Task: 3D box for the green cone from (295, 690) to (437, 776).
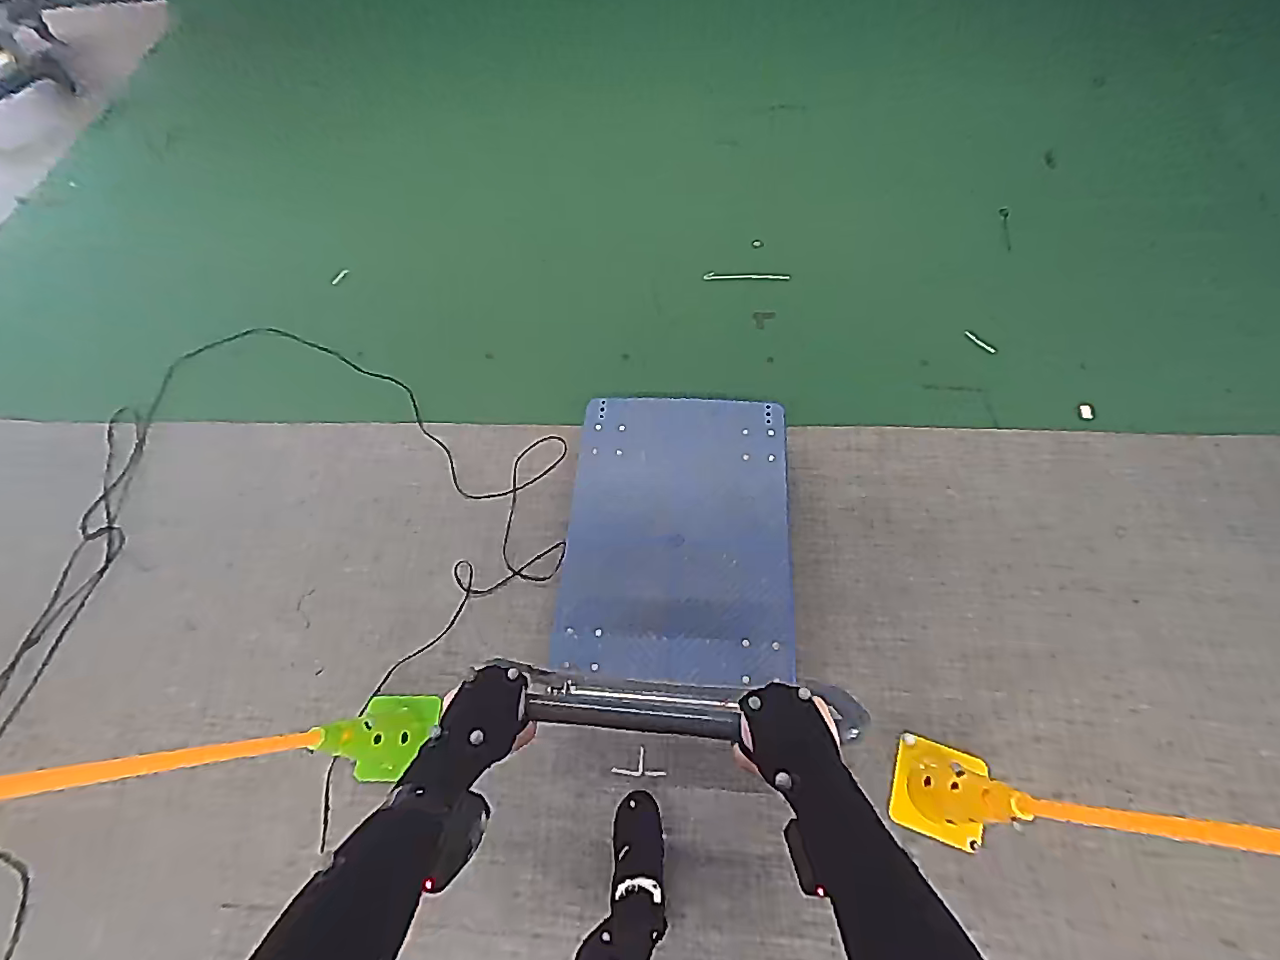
[{"bbox_3d":[-0.644,0.573,1.234,0.202,0.368,0.200,-3,64,5],"label":"green cone"}]
